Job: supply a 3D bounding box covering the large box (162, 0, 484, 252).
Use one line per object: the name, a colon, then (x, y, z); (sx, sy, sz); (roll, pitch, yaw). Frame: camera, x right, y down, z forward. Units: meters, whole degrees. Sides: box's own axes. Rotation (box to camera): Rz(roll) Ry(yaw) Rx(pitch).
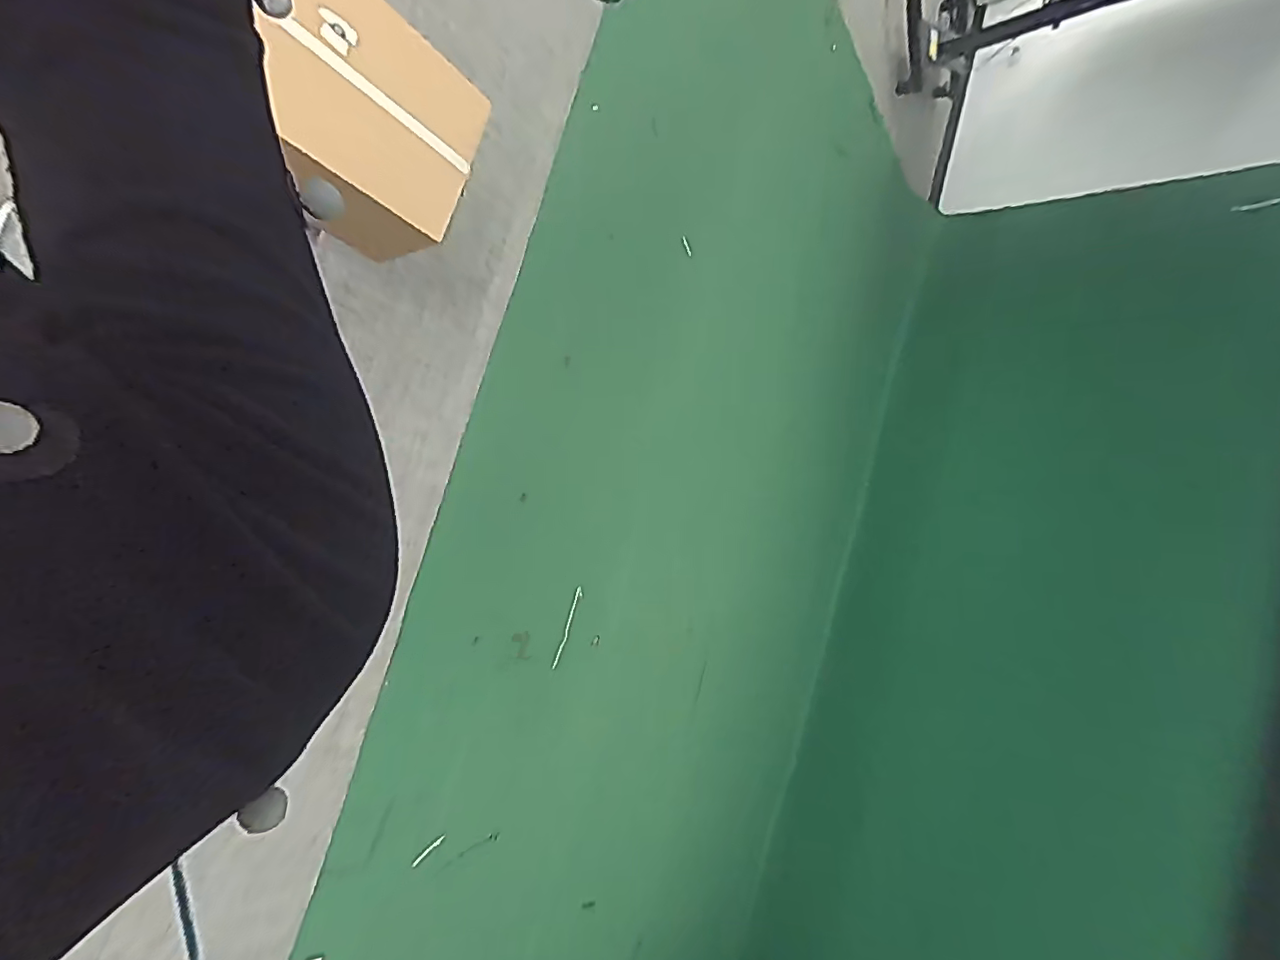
large box: (-0.584, -0.695, 1.025); (0.408, 0.320, 0.320); (24, 81, -46)
